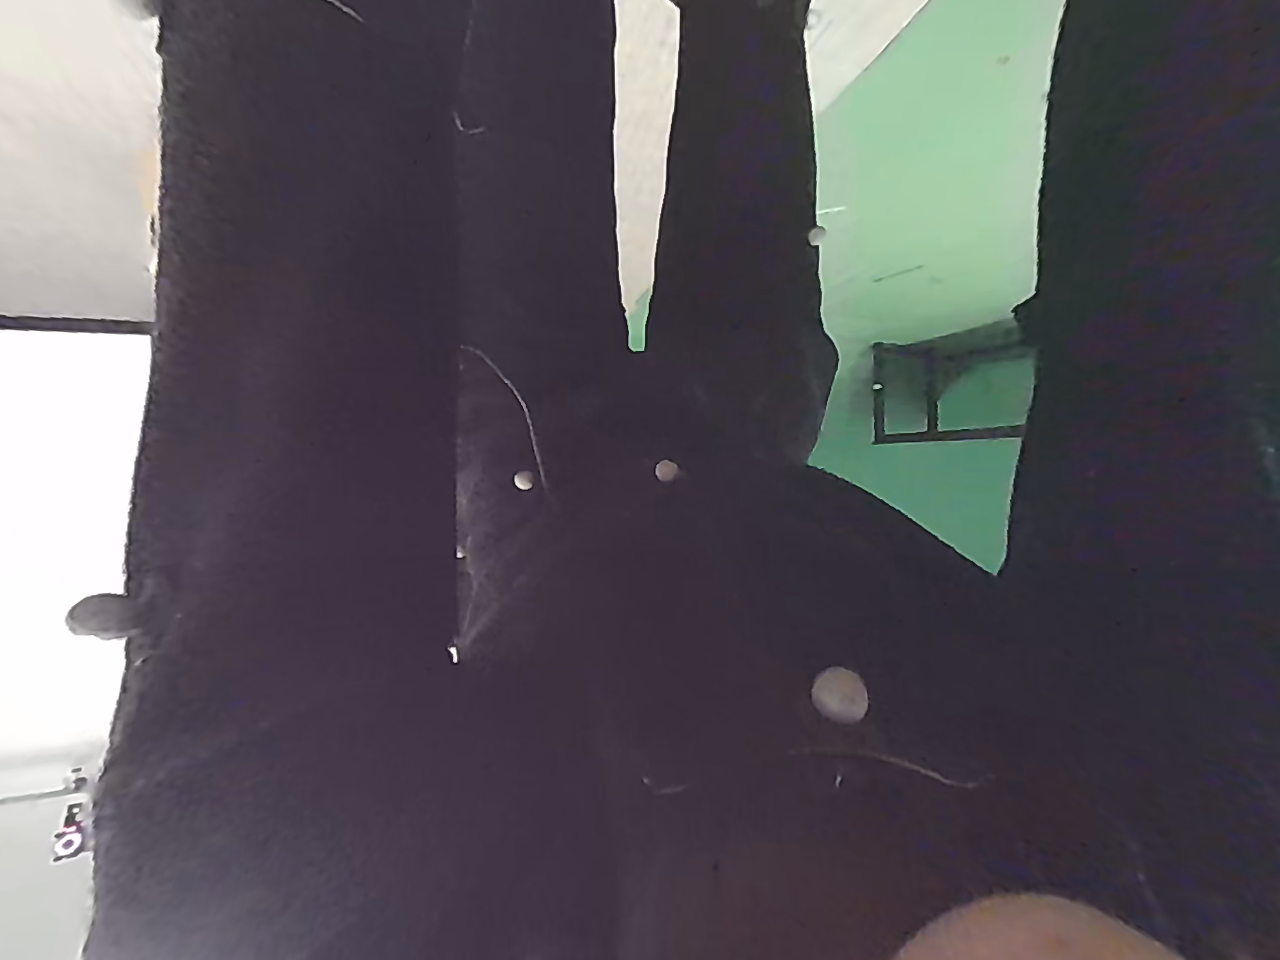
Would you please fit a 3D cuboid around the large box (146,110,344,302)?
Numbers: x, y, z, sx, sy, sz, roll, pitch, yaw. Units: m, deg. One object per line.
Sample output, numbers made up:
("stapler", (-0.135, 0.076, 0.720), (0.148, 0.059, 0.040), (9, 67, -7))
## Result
("large box", (-1.085, -0.721, 1.499), (0.320, 0.320, 0.408), (0, -179, 44))
